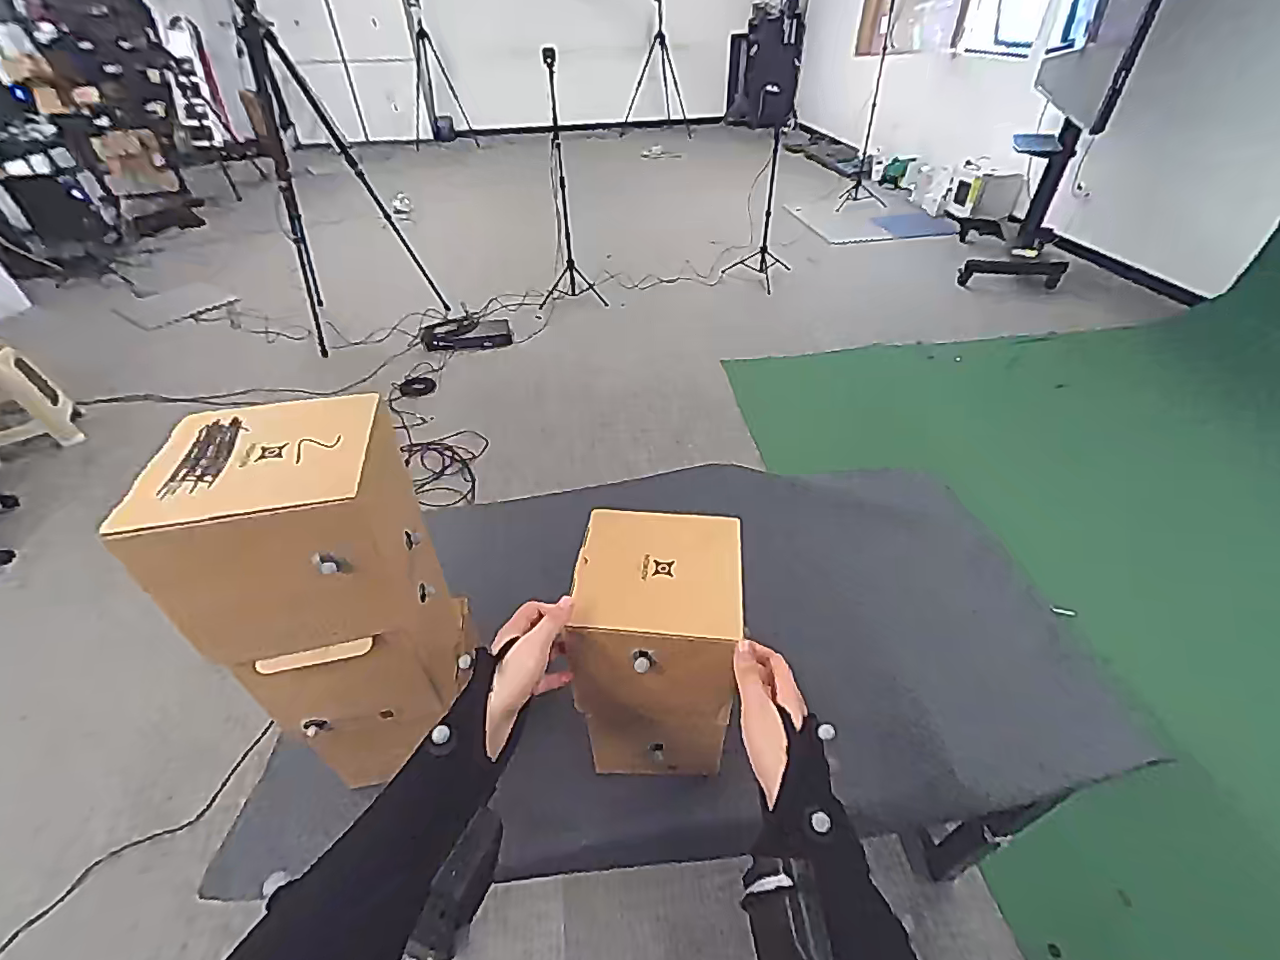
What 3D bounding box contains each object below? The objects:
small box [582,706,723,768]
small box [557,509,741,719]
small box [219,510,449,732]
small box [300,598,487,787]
[{"bbox_3d":[0.021,0.272,0.731,0.168,0.176,0.179,-1,41,2],"label":"small box"},{"bbox_3d":[0.019,0.153,0.618,0.179,0.176,0.168,2,41,7],"label":"small box"},{"bbox_3d":[-0.325,0.164,0.622,0.168,0.176,0.179,-10,40,-9],"label":"small box"},{"bbox_3d":[-0.311,0.287,0.731,0.179,0.176,0.168,-8,40,-6],"label":"small box"}]
